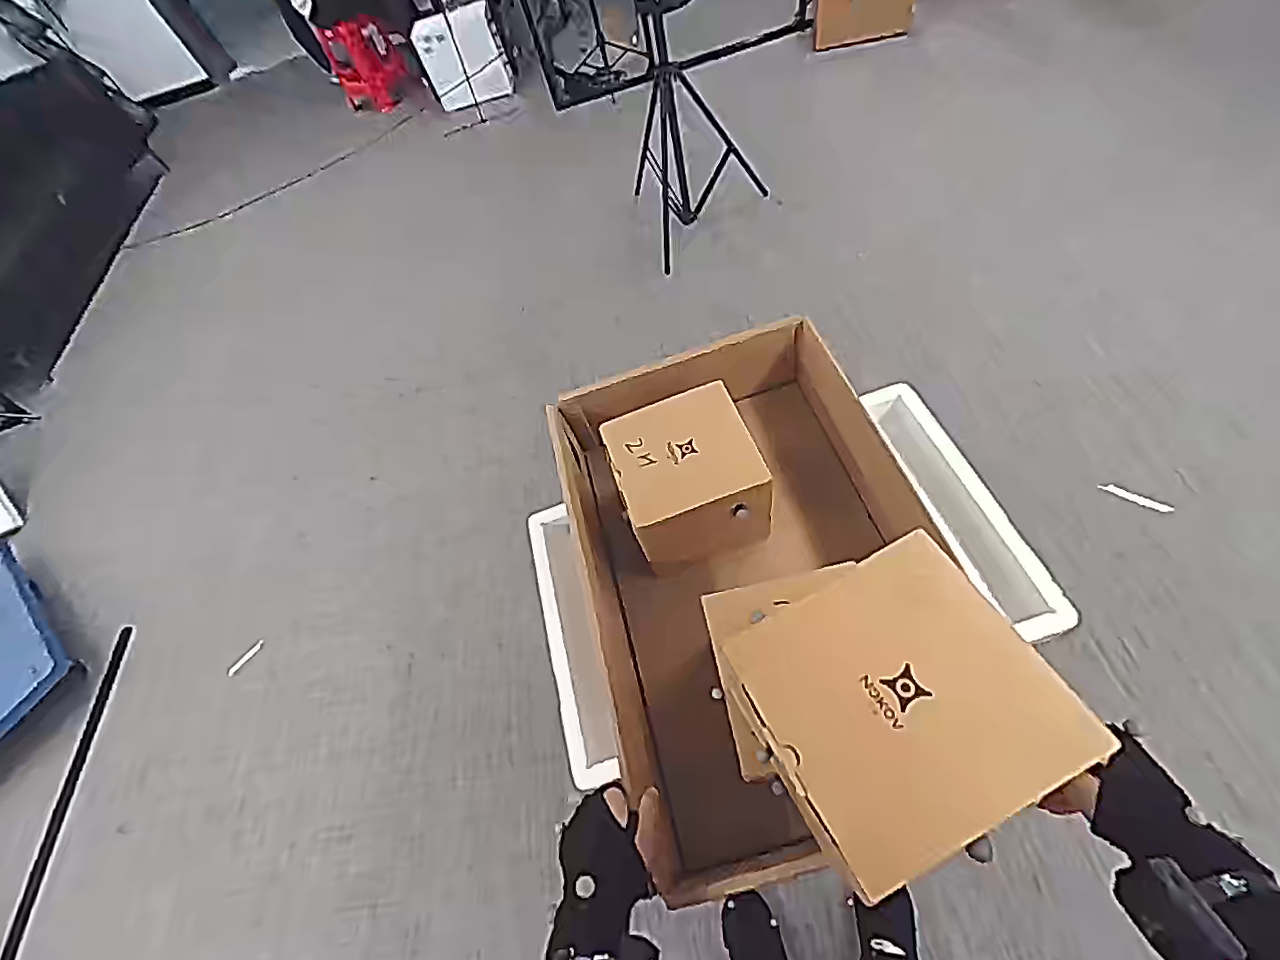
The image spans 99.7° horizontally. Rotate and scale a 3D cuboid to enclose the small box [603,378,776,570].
[{"bbox_3d":[0.067,-0.001,0.731,0.179,0.176,0.168,-20,58,0],"label":"small box"}]
